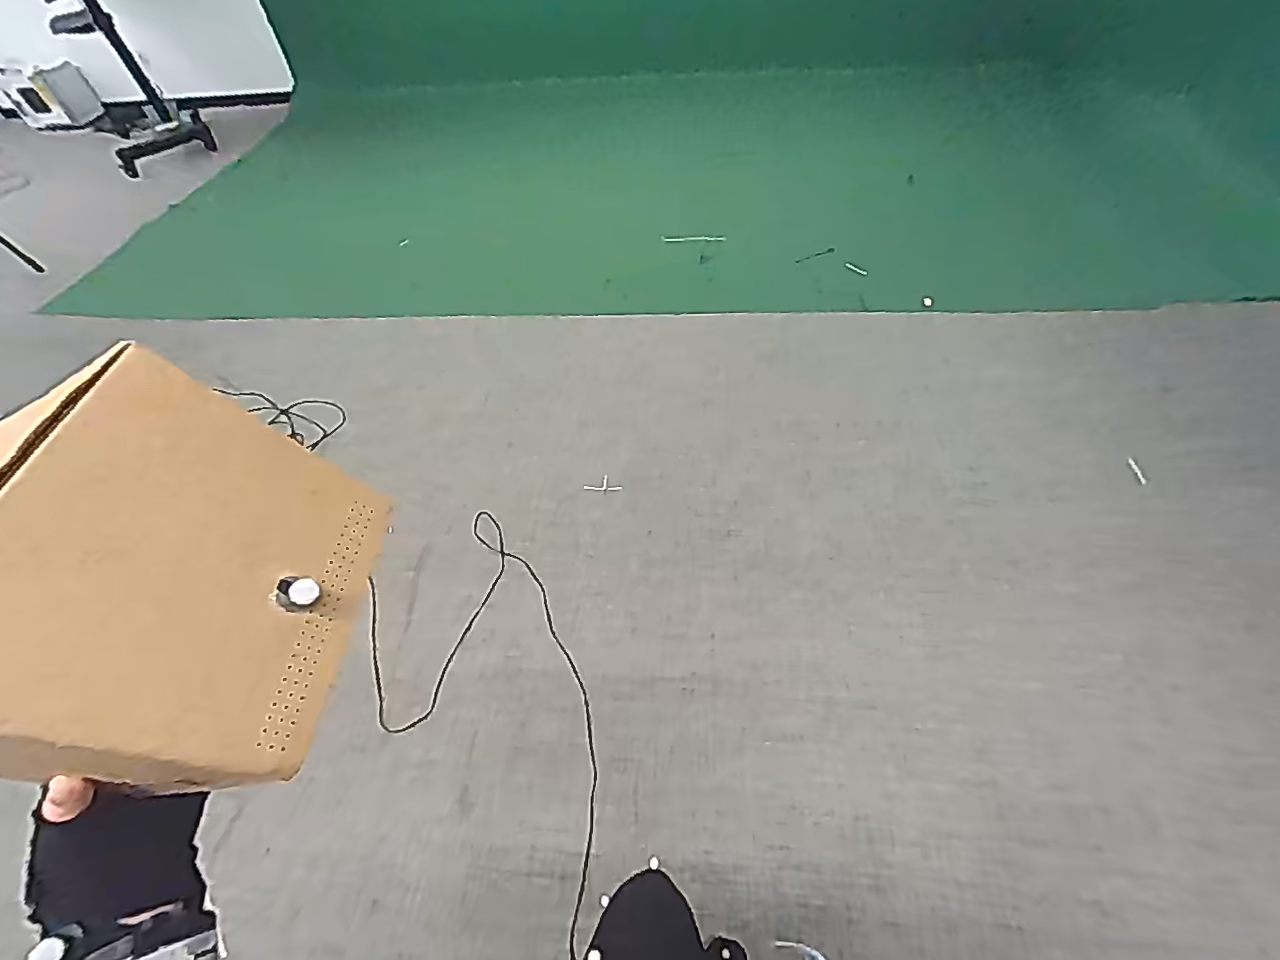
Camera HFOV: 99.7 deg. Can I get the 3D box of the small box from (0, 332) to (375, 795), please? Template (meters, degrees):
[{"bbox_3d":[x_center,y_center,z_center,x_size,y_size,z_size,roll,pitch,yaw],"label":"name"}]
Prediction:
[{"bbox_3d":[-0.283,0.059,0.297,0.168,0.176,0.179,-17,50,22],"label":"small box"}]
